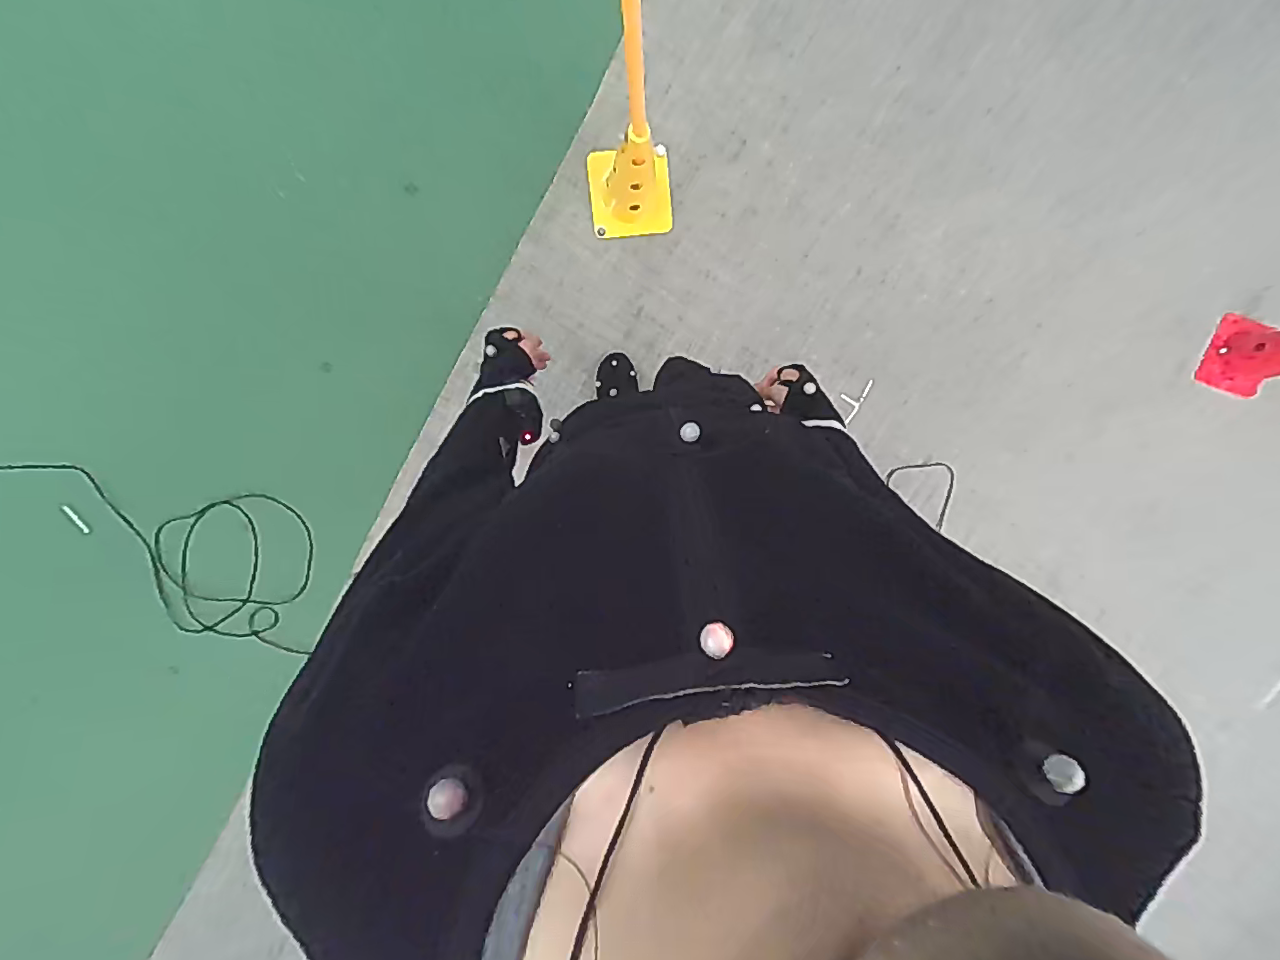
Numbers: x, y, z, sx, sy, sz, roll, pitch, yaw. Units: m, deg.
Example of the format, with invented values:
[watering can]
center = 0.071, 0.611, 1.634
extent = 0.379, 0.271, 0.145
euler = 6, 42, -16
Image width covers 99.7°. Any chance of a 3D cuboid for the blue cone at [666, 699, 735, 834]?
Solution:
[blue cone]
center = 0.200, 0.801, 1.493
extent = 0.192, 0.380, 0.193
euler = -15, 104, -1
